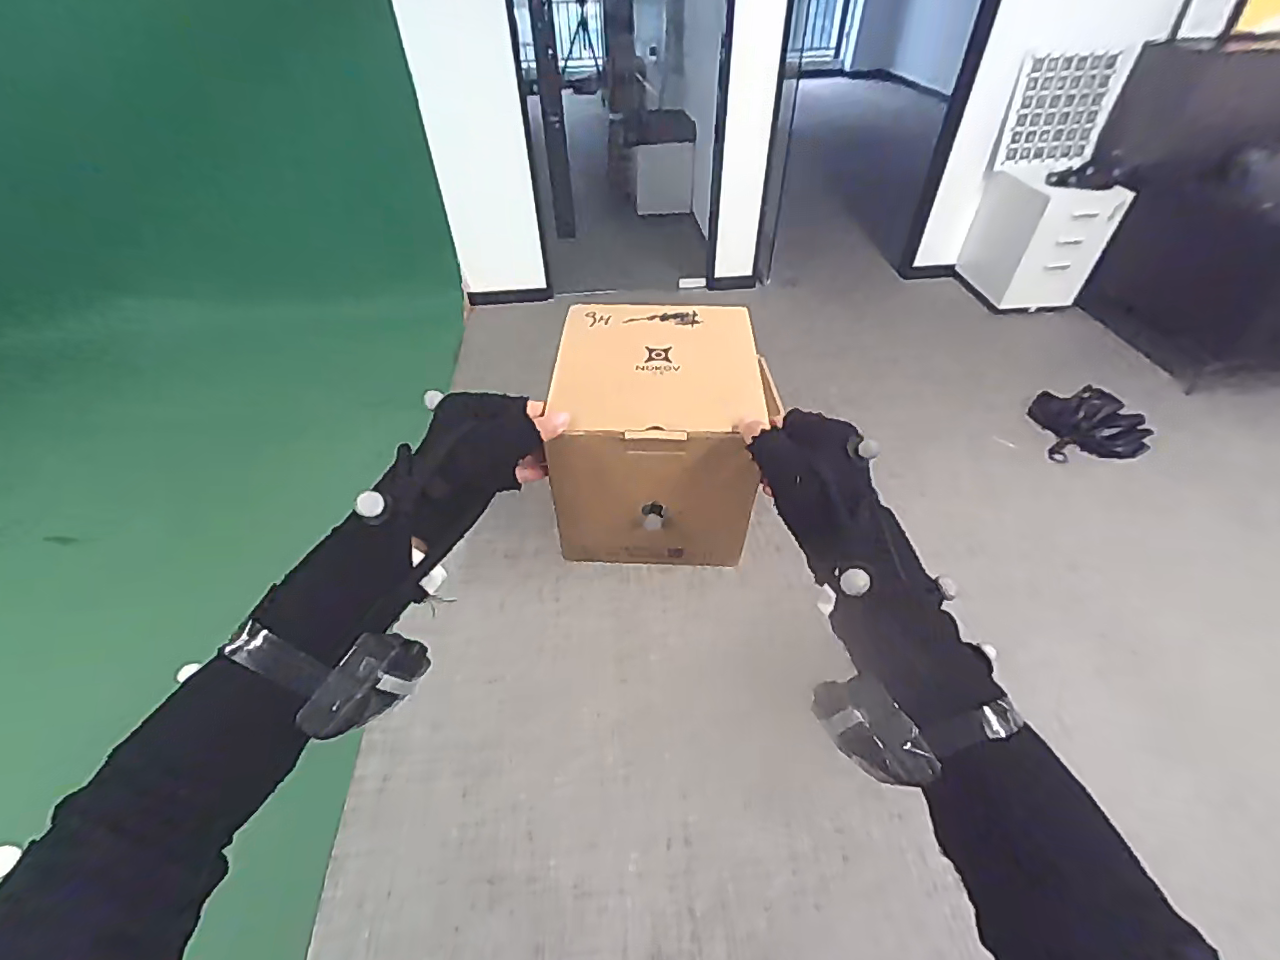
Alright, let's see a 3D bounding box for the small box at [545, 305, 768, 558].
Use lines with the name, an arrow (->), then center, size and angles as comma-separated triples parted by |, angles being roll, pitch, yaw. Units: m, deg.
small box -> 0.017, -0.042, 0.501 | 0.168, 0.176, 0.179 | 1, 48, 2
